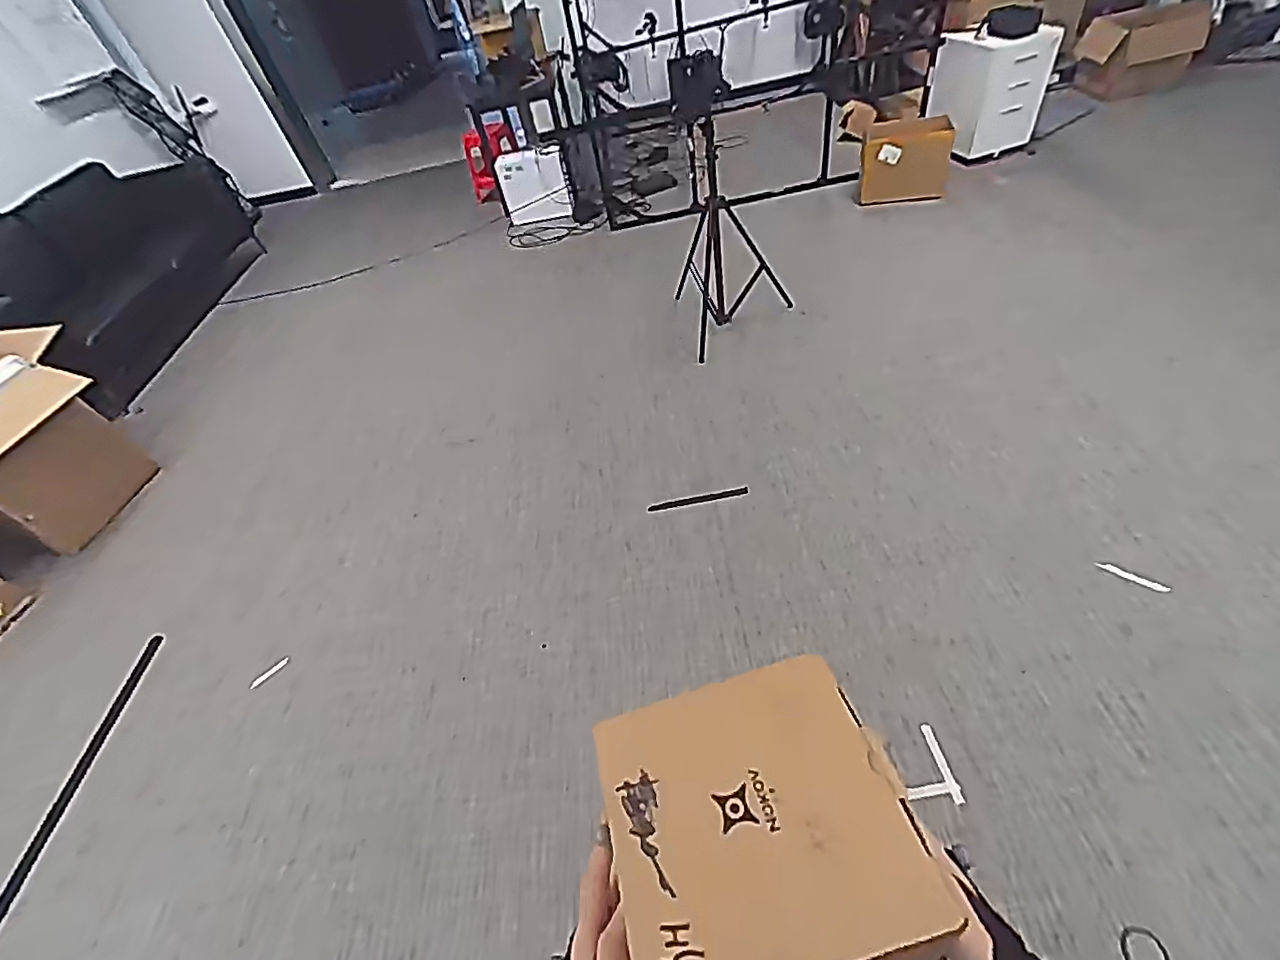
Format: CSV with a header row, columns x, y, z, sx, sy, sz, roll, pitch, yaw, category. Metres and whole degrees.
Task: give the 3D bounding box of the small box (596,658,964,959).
x,y,z,sx,sy,sz,roll,pitch,yaw,category
0.079,0.260,0.381,0.179,0.176,0.168,-15,39,-3,small box
